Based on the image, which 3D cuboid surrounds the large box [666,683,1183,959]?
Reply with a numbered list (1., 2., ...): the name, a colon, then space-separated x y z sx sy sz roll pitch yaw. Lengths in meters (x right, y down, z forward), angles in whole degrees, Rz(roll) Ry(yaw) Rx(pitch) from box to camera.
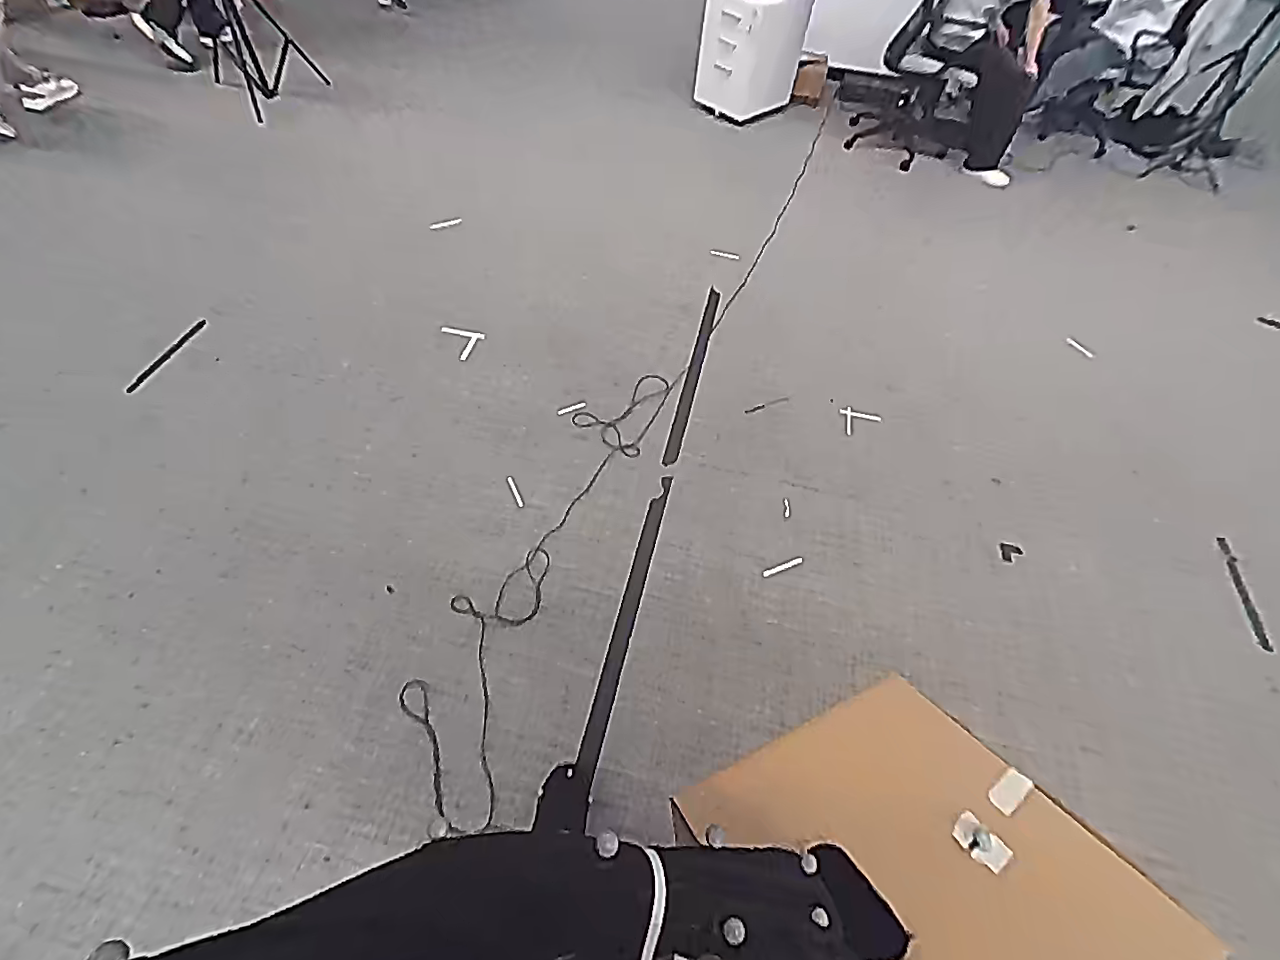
1. large box: 0.249 0.512 0.576 0.320 0.408 0.320 -18 30 -19
